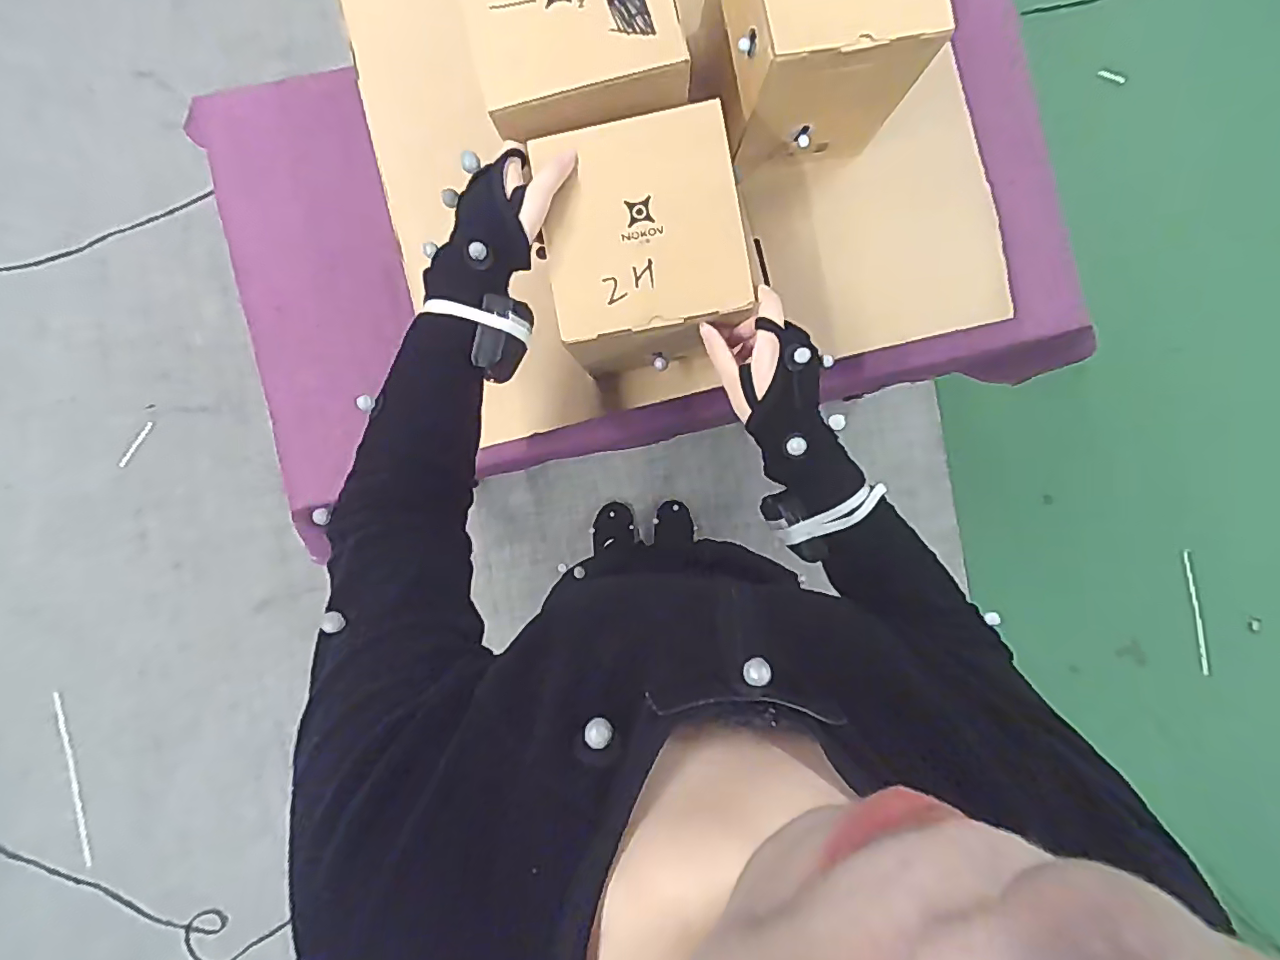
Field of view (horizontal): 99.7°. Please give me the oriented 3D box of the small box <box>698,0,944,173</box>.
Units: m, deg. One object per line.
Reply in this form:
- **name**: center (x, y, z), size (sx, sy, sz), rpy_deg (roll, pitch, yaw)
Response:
- **small box**: center (0.165, -0.452, 0.548), size (0.168, 0.176, 0.179), rpy_deg (-12, 90, -5)
